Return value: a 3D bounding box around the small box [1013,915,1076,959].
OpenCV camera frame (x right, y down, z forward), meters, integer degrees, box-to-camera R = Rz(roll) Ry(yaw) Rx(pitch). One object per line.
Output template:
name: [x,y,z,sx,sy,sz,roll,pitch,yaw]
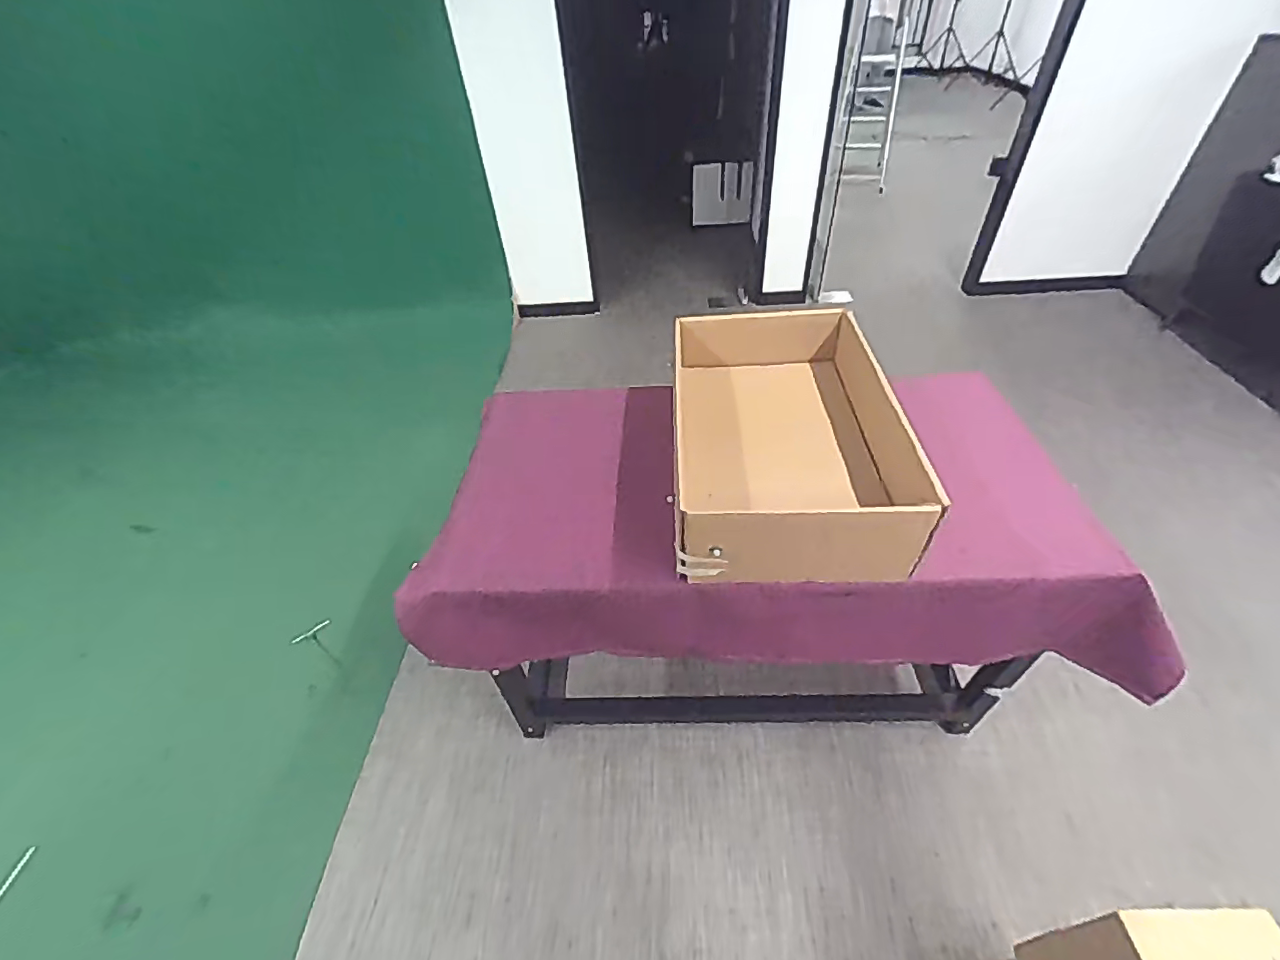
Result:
small box: [0.674,0.745,0.764,0.168,0.176,0.179,-1,43,4]
